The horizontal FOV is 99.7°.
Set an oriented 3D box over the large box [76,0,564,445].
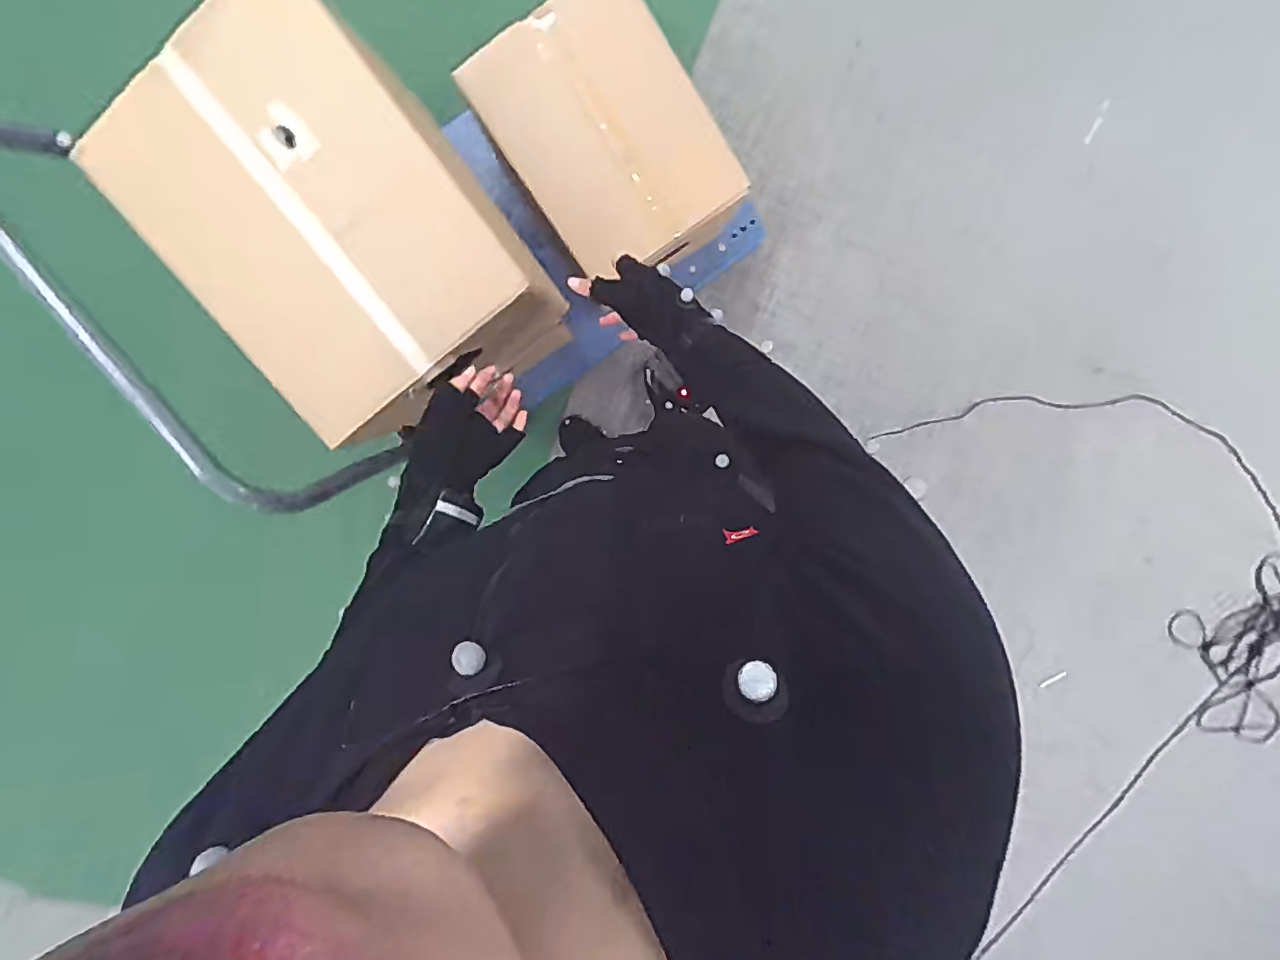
[{"bbox_3d":[-0.363,-0.311,0.733,0.320,0.320,0.408,-36,99,8],"label":"large box"}]
